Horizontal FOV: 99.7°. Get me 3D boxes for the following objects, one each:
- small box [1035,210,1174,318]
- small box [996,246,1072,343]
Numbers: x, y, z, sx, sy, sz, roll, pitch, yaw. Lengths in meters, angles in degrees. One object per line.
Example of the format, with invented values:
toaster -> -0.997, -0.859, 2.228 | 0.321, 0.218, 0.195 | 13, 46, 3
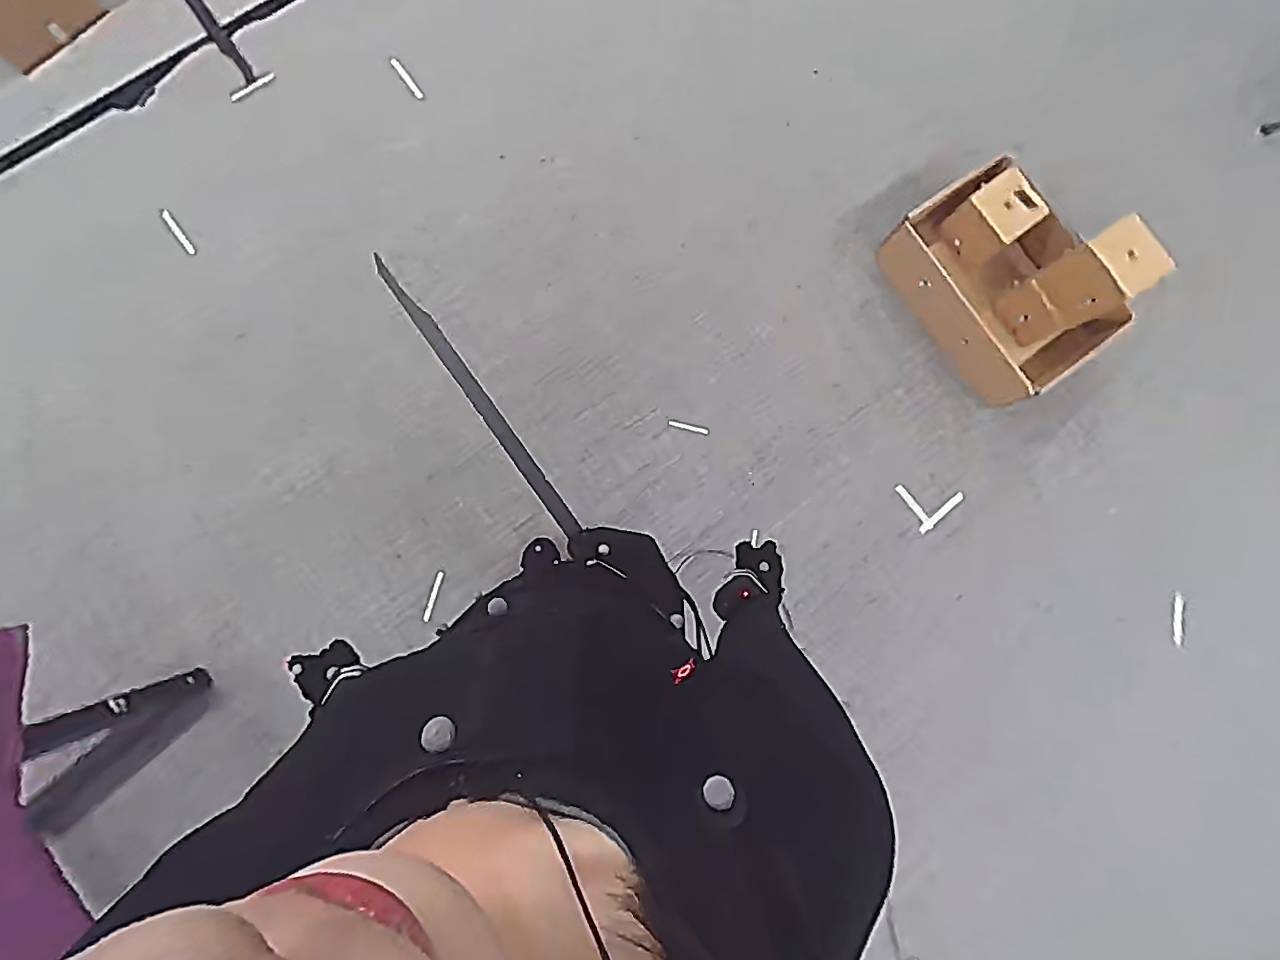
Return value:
small box -> 1.193, -0.546, 1.401 | 0.168, 0.176, 0.179 | -33, 85, -8
small box -> 1.178, -0.527, 1.564 | 0.179, 0.176, 0.168 | -34, 84, -5
